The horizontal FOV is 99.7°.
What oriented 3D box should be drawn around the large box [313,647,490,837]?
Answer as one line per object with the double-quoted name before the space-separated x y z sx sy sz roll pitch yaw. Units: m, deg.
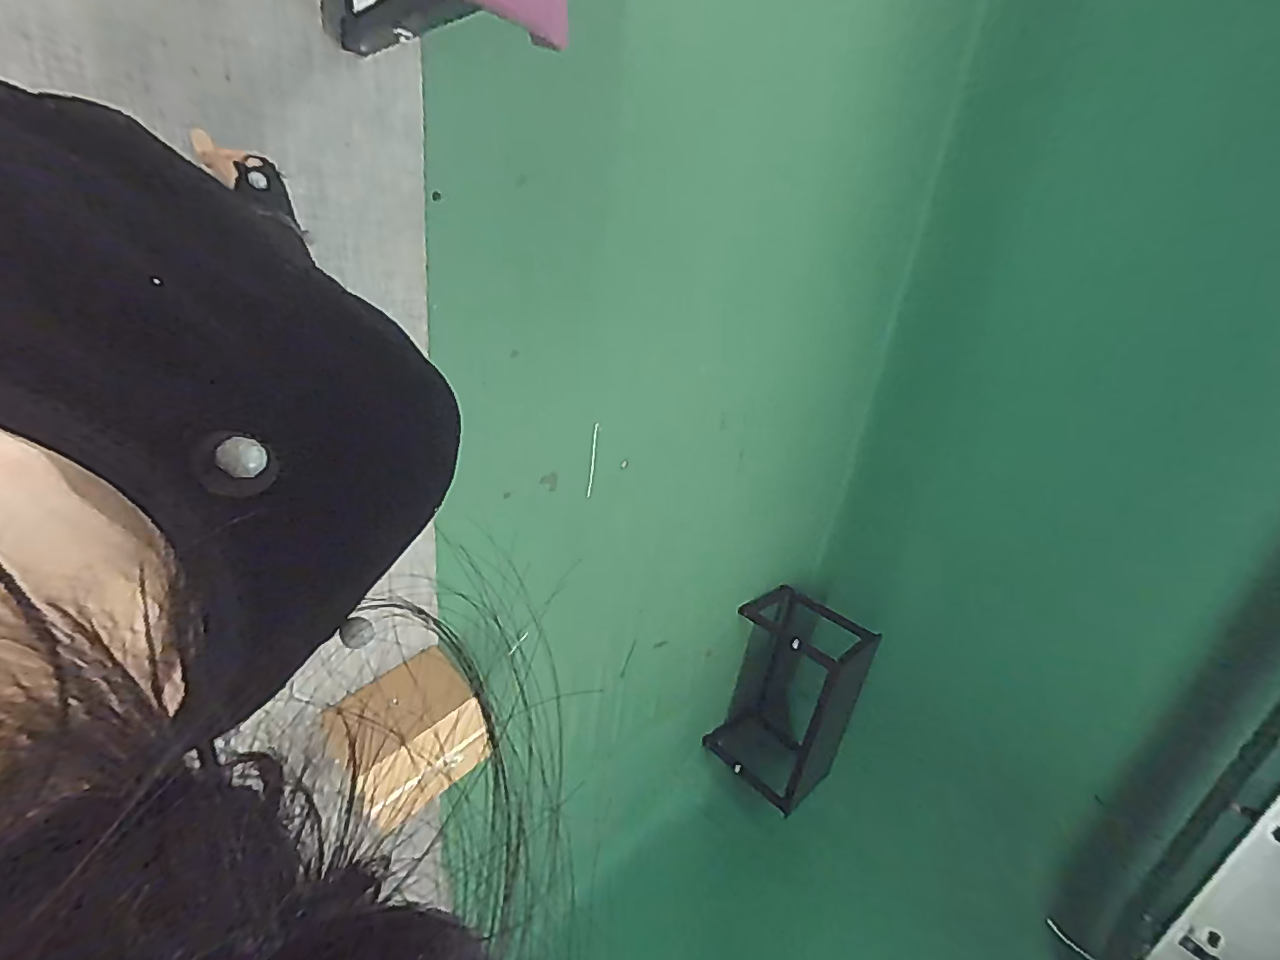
"large box" -0.780 0.848 1.797 0.408 0.320 0.320 -30 131 -36
